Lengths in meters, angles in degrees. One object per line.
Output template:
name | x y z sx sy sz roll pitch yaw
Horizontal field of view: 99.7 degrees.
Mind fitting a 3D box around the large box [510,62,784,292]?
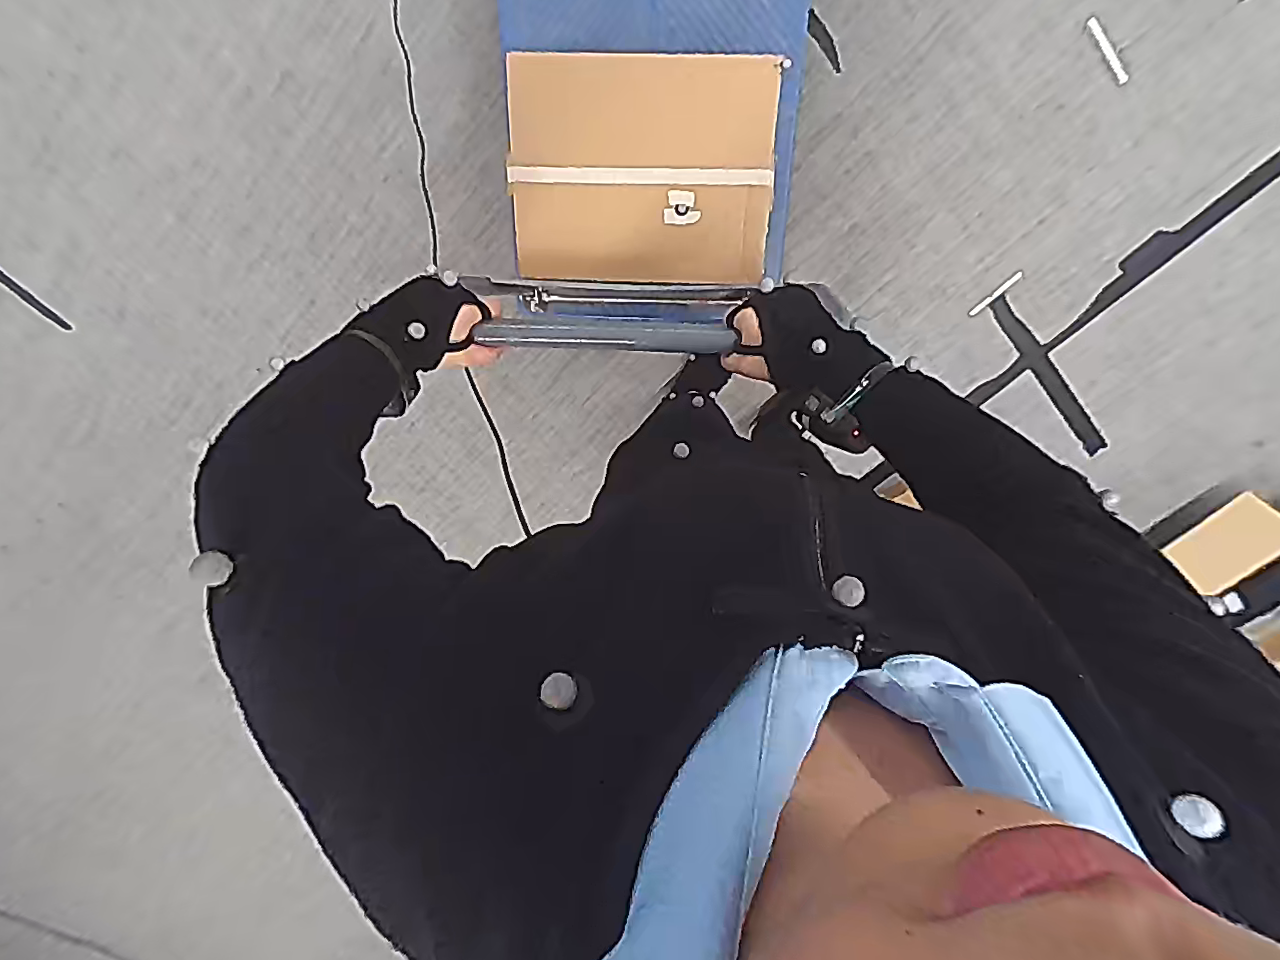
large box | 0.012 -0.507 0.968 0.408 0.320 0.320 2 112 2
